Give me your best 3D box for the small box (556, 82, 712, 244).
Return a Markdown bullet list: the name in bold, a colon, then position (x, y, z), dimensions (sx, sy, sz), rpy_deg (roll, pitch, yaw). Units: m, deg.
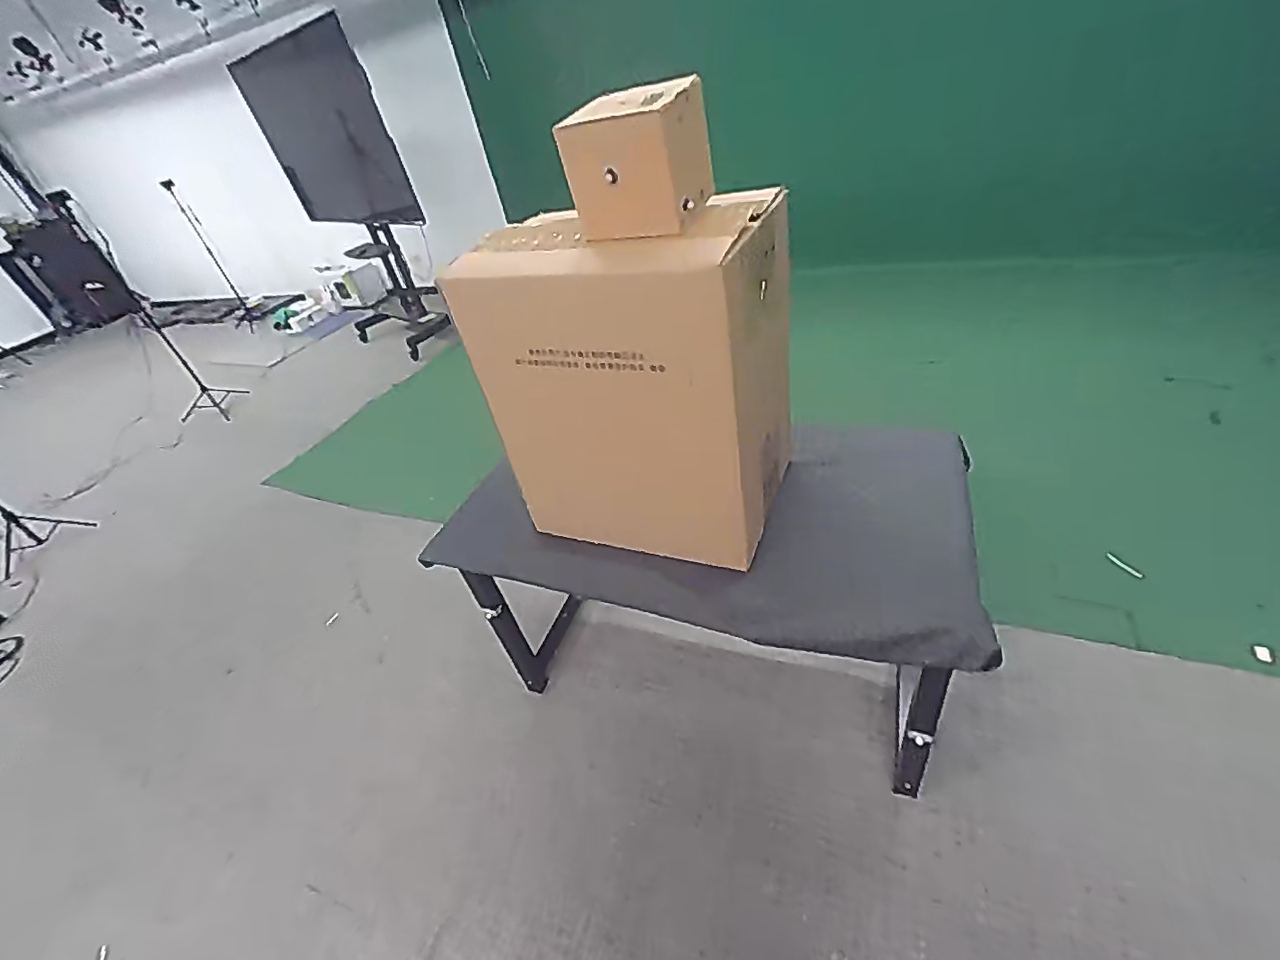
- **small box**: position (0.003, -0.492, 0.854), dimensions (0.179, 0.176, 0.168), rpy_deg (8, 49, 27)
